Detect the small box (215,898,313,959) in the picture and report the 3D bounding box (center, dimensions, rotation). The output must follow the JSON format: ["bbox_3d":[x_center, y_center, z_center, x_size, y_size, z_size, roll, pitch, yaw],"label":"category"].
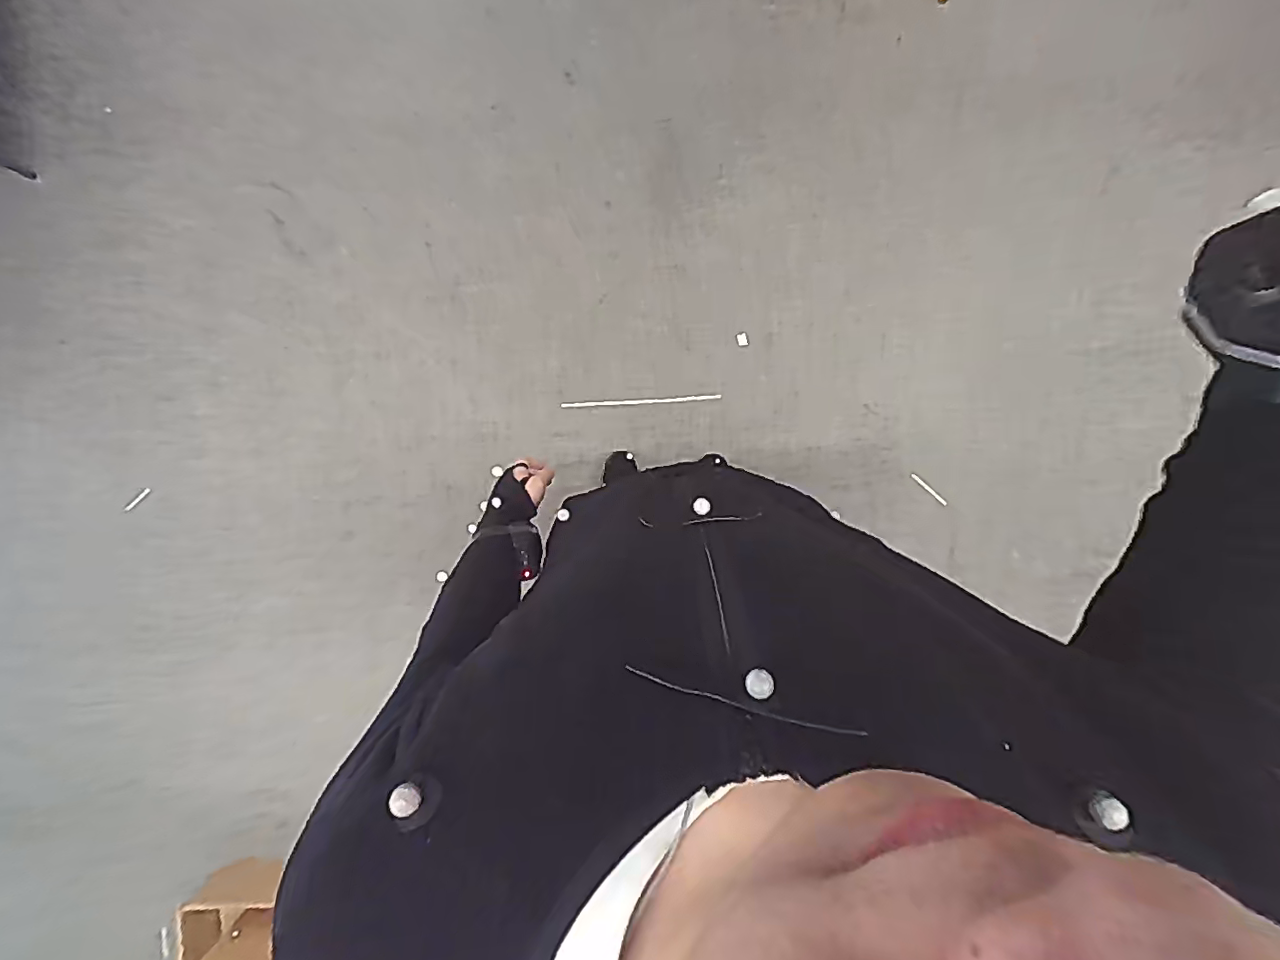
[{"bbox_3d":[-1.079,1.358,1.570,0.179,0.176,0.168,-3,93,0],"label":"small box"}]

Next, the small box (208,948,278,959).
[{"bbox_3d":[-1.082,1.368,1.406,0.179,0.176,0.168,0,94,-1],"label":"small box"}]
